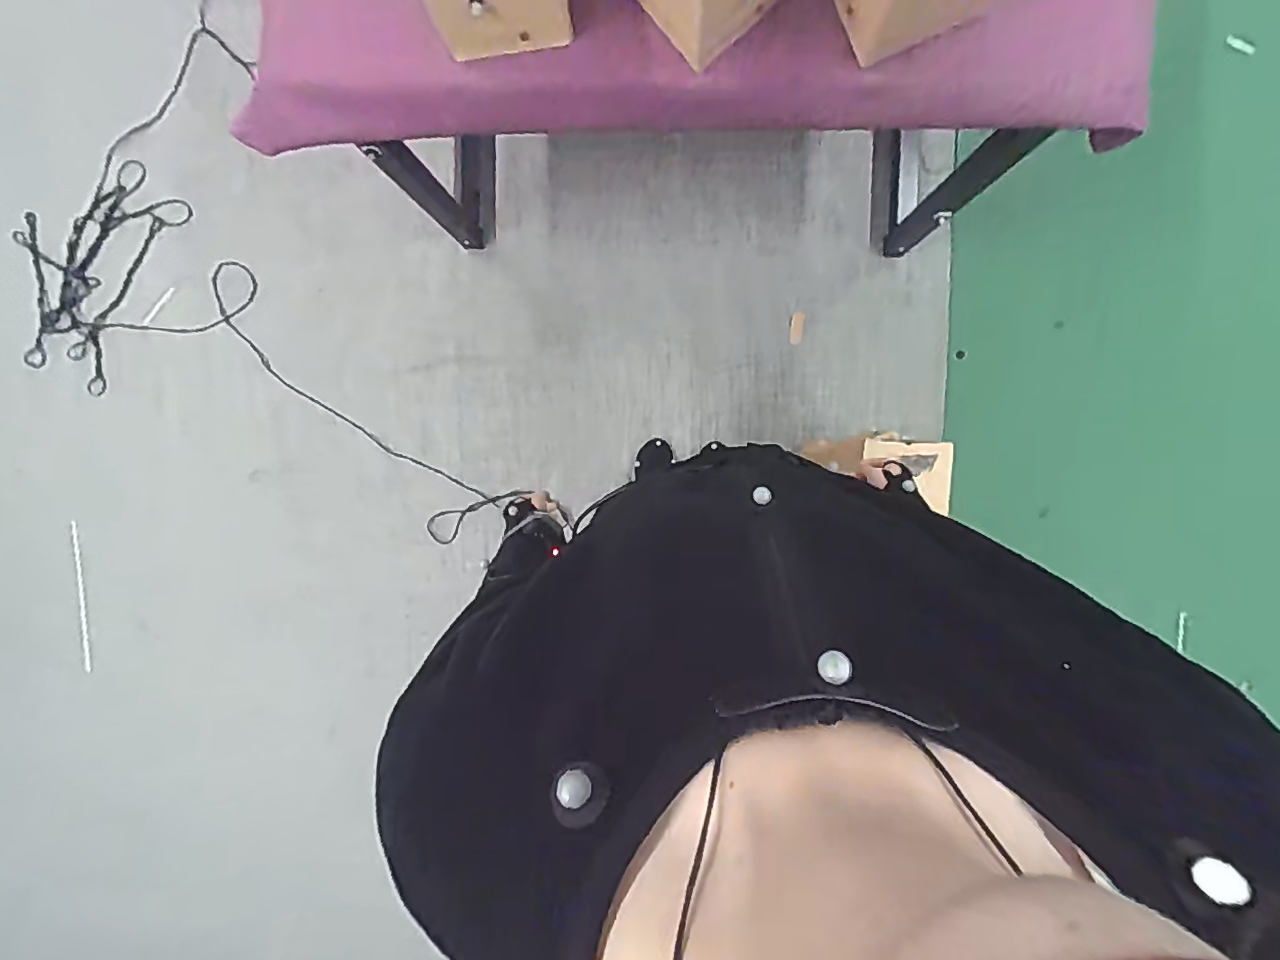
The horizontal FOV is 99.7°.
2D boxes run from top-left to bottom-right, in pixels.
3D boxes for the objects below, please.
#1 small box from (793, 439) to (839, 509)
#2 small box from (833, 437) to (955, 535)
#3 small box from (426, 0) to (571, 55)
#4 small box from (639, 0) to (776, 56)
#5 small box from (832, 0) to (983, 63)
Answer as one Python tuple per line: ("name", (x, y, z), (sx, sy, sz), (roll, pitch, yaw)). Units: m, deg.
("small box", (0.512, -0.009, 1.403), (0.179, 0.176, 0.168), (11, 95, 3))
("small box", (0.494, 0.006, 1.075), (0.168, 0.176, 0.179), (3, 95, 2))
("small box", (-0.186, -0.669, 0.666), (0.168, 0.176, 0.179), (-6, 92, 3))
("small box", (0.082, -0.667, 0.650), (0.168, 0.176, 0.179), (-40, 90, 4))
("small box", (0.338, -0.657, 0.638), (0.179, 0.176, 0.168), (-22, 90, 5))
